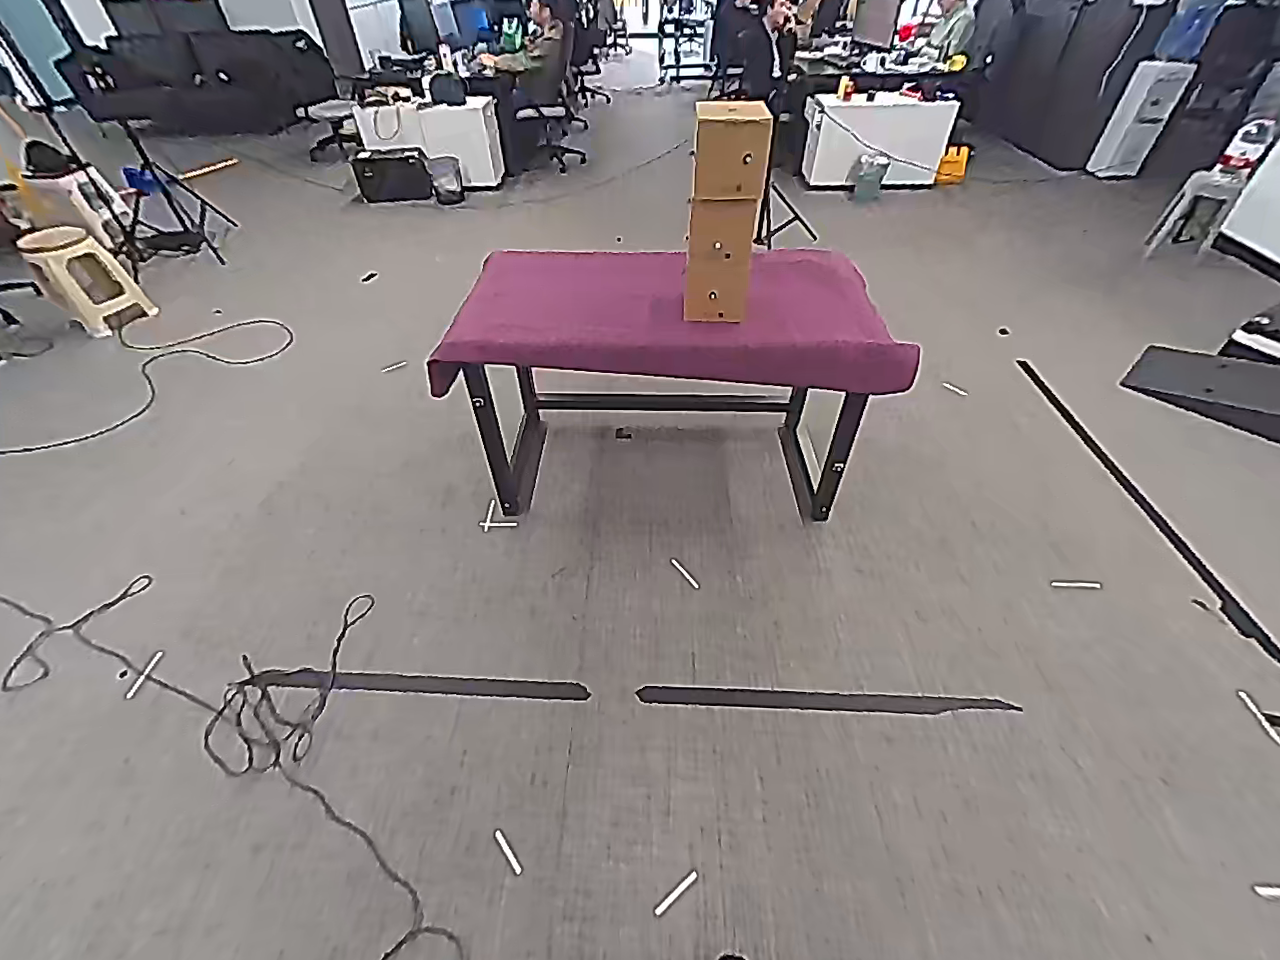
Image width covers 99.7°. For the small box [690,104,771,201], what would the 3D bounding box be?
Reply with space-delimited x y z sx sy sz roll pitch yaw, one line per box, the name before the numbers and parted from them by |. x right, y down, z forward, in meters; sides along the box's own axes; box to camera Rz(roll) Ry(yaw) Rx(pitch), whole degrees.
small box | 0.209 -0.782 1.295 0.168 0.176 0.179 1 44 1

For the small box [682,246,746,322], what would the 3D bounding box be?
small box | 0.209 -0.563 1.538 0.168 0.176 0.179 3 45 4

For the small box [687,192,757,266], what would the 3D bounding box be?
small box | 0.210 -0.682 1.425 0.168 0.176 0.179 3 45 4
